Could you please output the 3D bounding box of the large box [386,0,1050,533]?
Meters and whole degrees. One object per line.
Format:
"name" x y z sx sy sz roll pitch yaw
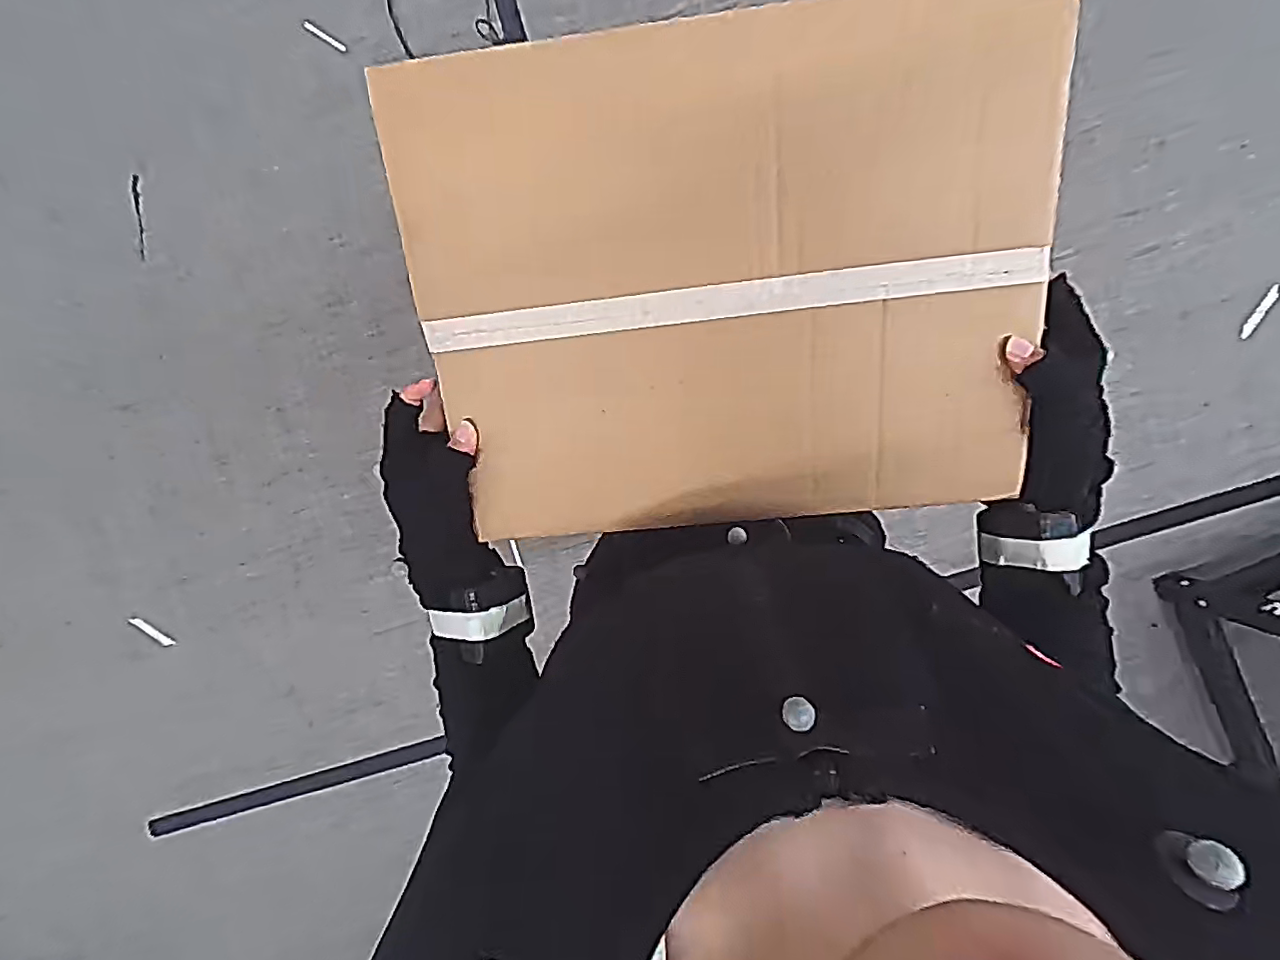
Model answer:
"large box" 0.058 -0.168 0.508 0.408 0.320 0.320 -5 110 4
